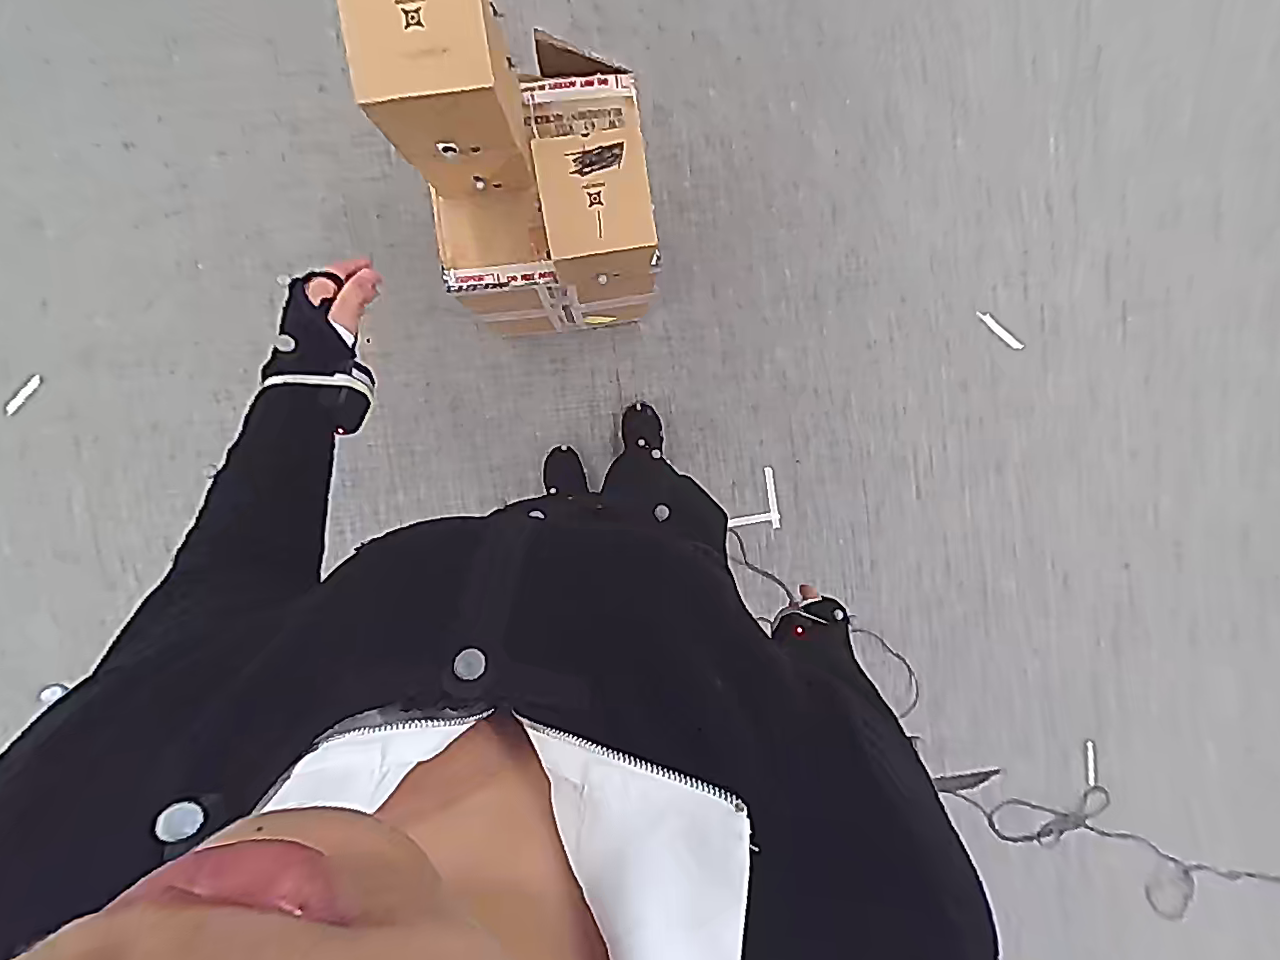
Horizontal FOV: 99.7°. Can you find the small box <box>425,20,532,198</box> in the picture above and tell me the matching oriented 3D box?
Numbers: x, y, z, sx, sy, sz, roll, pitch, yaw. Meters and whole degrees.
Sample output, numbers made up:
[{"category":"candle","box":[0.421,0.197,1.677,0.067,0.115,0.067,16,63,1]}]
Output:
[{"category":"small box","box":[-0.275,-0.579,0.859,0.168,0.176,0.179,-8,98,-1]}]

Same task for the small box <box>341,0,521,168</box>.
[{"category":"small box","box":[-0.260,-0.540,0.700,0.168,0.176,0.179,-8,98,0]}]

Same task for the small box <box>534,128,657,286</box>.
[{"category":"small box","box":[-0.071,-0.434,0.886,0.168,0.176,0.179,-9,98,-2]}]
